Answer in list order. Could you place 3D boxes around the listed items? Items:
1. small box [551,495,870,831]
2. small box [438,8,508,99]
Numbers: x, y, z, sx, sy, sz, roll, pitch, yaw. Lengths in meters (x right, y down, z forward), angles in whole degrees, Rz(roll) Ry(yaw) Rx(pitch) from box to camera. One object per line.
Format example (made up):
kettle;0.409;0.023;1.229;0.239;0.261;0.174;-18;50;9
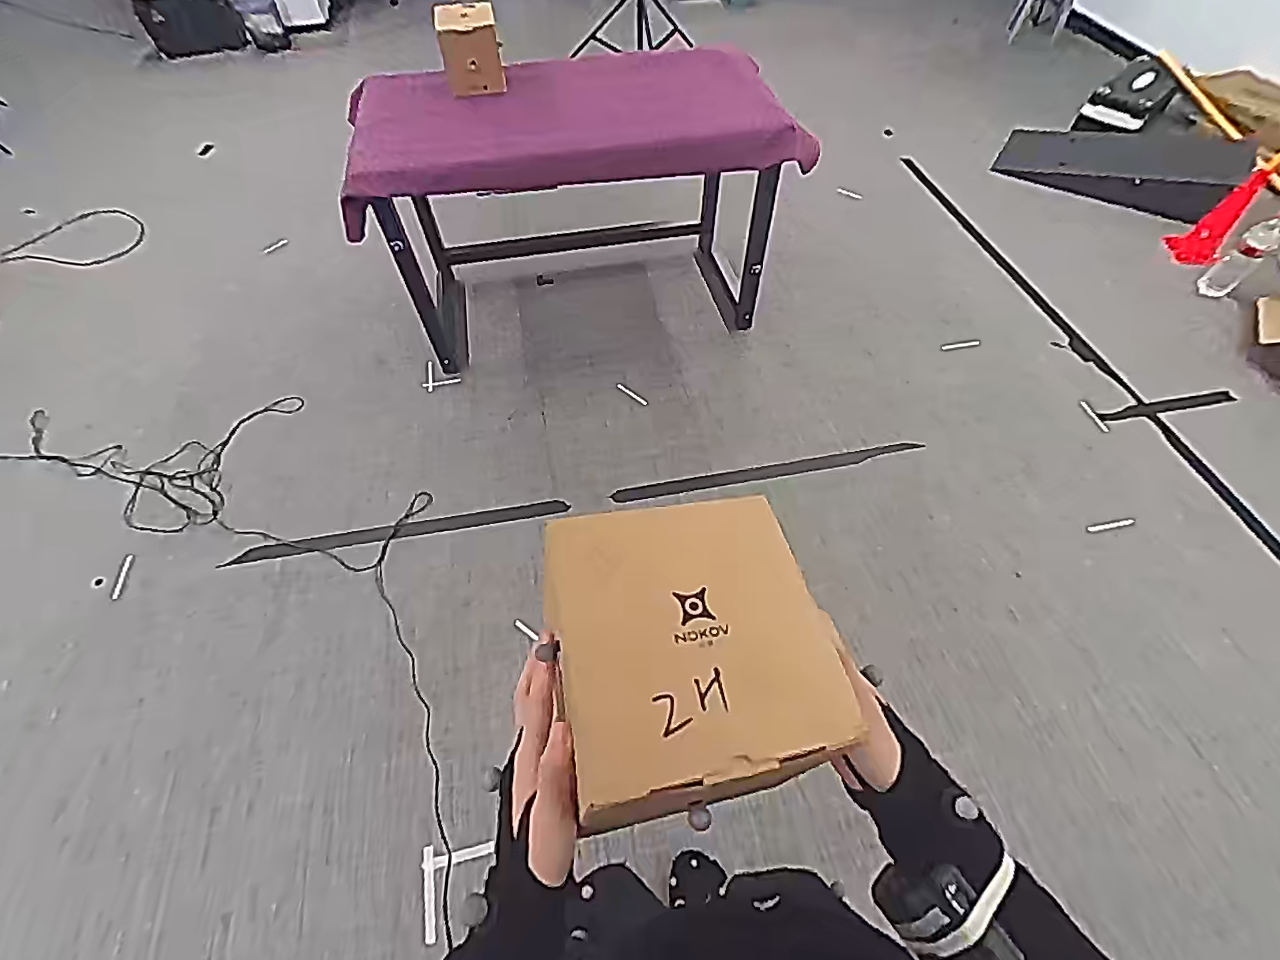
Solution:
small box;0.025;0.134;0.402;0.168;0.176;0.179;-6;54;-14
small box;-0.496;-1.269;1.617;0.168;0.176;0.179;-10;59;-6
